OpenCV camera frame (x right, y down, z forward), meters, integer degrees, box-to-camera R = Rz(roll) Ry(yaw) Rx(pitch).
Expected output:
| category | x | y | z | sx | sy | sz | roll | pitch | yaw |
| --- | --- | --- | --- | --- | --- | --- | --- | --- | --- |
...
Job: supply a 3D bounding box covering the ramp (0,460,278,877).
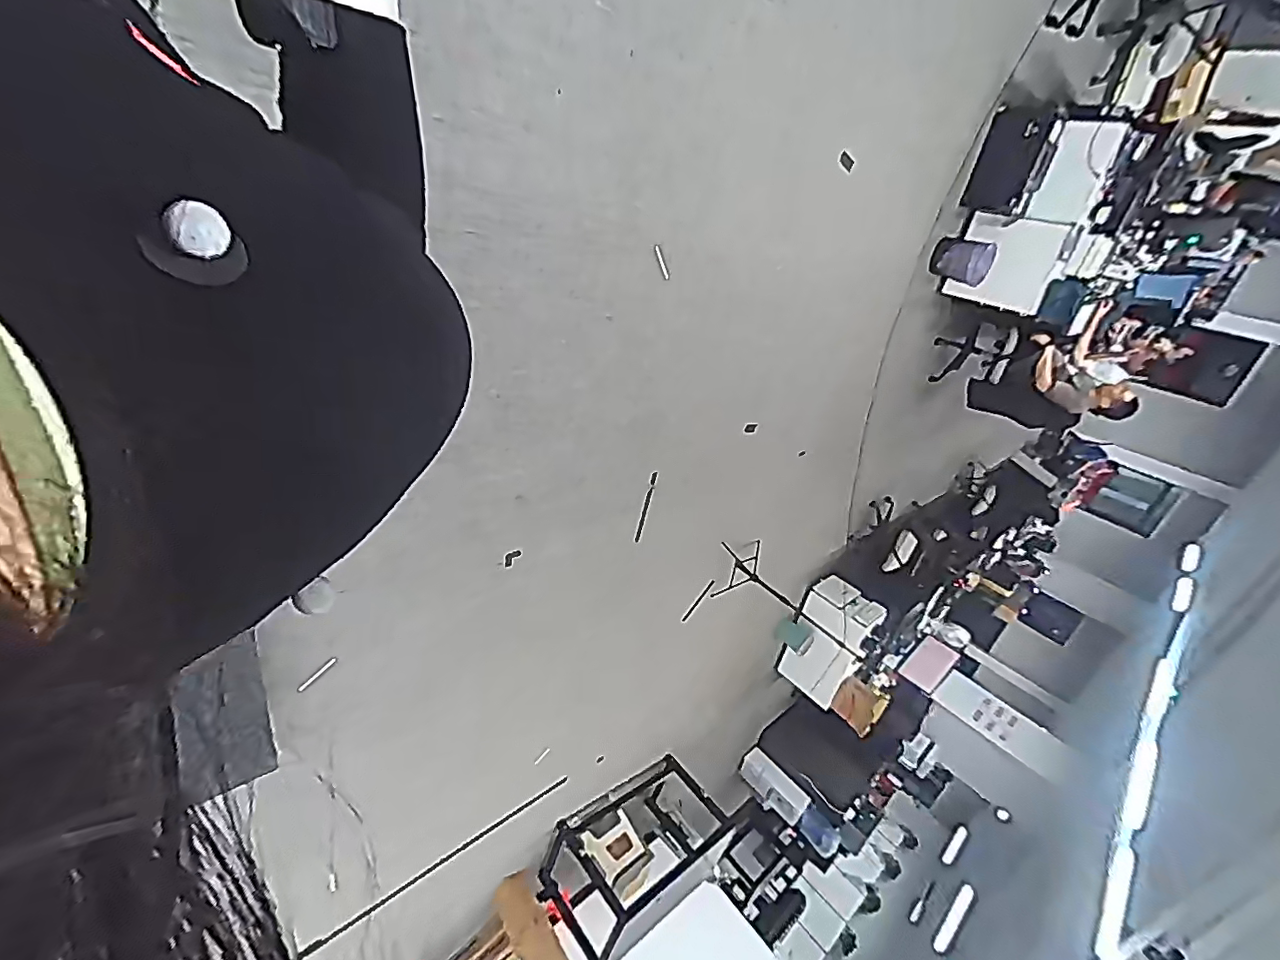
| category | x | y | z | sx | sy | sz | roll | pitch | yaw |
| --- | --- | --- | --- | --- | --- | --- | --- | --- | --- |
| ramp | -1.249 | 0.462 | 1.322 | 0.509 | 0.206 | 0.991 | -15 | 127 | -40 |
